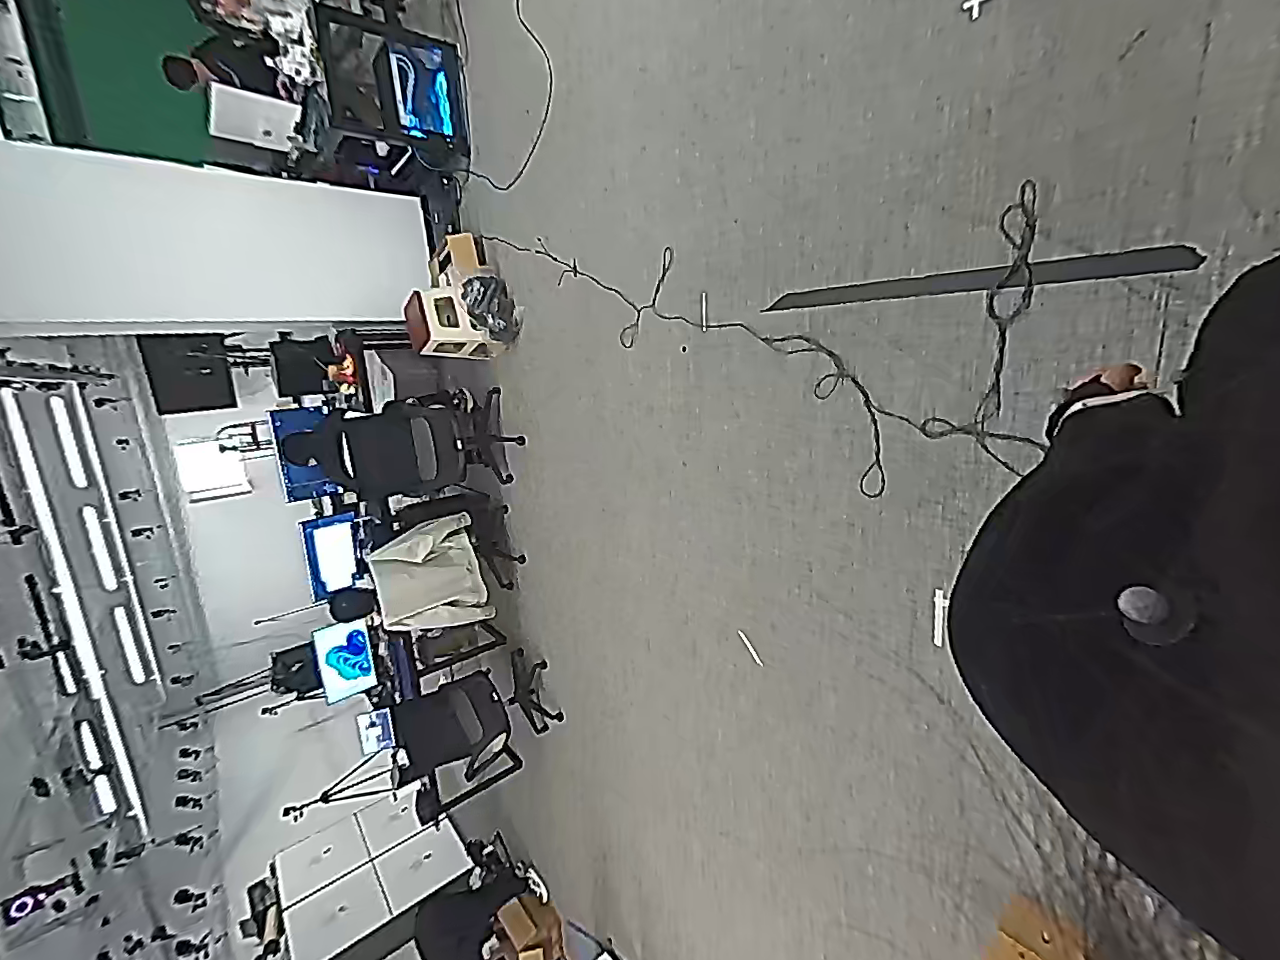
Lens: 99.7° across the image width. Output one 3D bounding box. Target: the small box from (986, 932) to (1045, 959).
[{"bbox_3d":[0.941,1.279,1.321,0.168,0.176,0.179,10,110,50],"label":"small box"}]
